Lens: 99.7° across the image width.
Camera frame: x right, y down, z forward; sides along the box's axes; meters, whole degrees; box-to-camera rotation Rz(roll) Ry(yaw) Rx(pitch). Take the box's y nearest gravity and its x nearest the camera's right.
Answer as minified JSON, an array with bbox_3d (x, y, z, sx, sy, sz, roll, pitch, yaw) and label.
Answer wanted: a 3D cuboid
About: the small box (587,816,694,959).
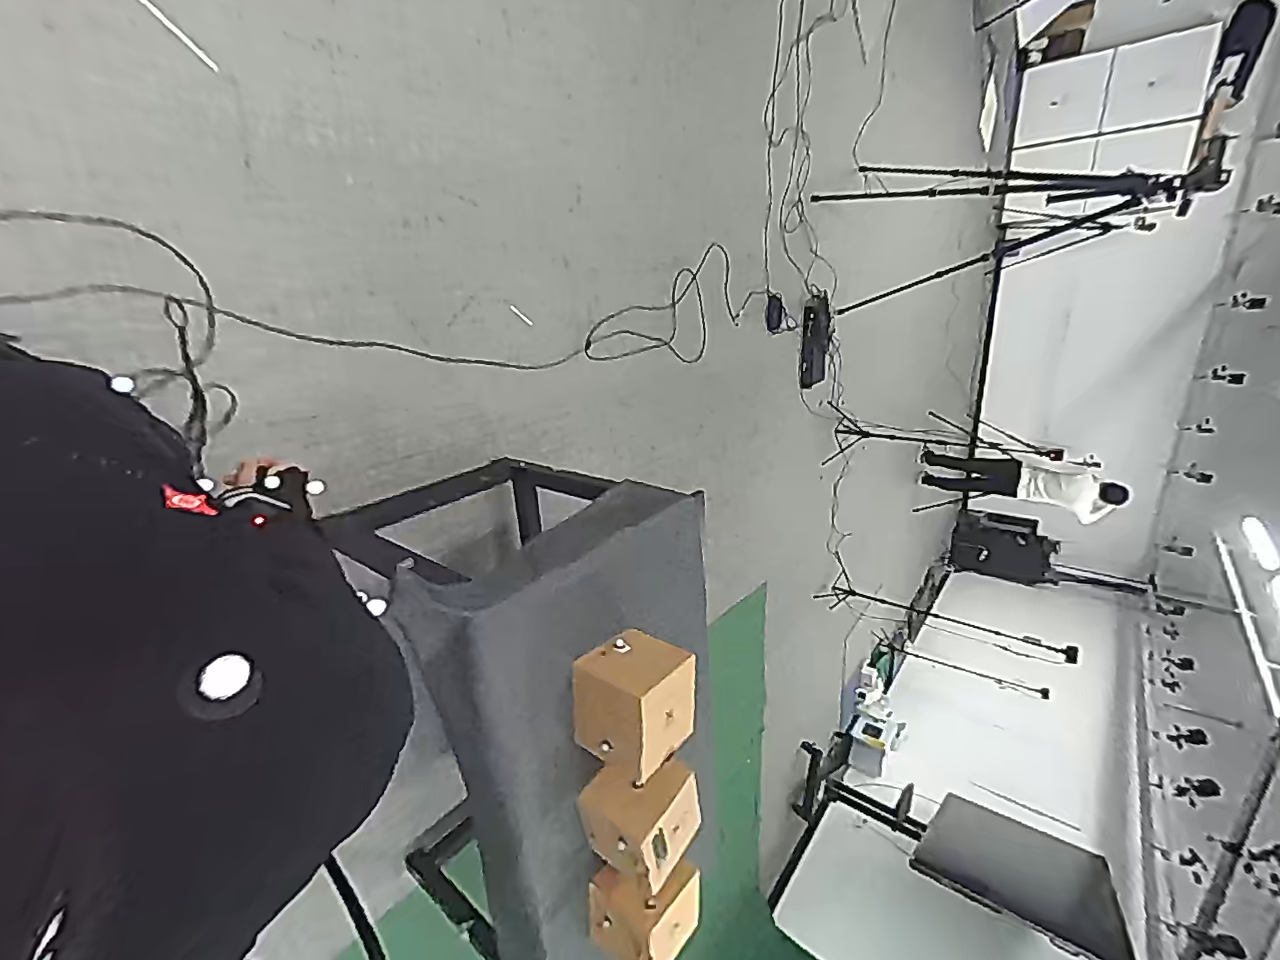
[{"bbox_3d":[0.001,0.905,1.206,0.179,0.176,0.168,-18,114,-48],"label":"small box"}]

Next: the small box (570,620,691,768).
[{"bbox_3d":[-0.019,0.396,1.034,0.168,0.176,0.179,-20,115,-49],"label":"small box"}]
